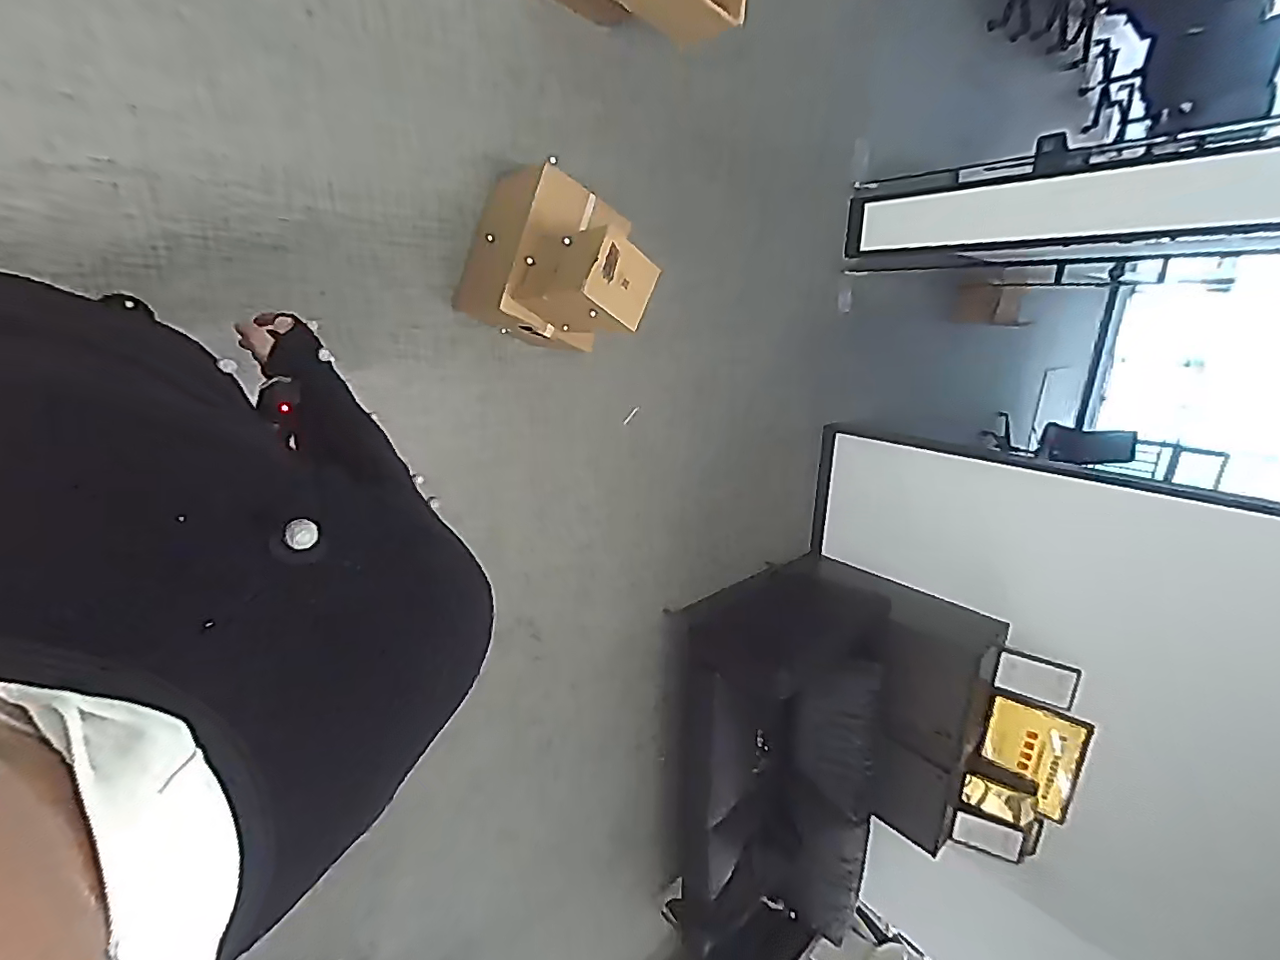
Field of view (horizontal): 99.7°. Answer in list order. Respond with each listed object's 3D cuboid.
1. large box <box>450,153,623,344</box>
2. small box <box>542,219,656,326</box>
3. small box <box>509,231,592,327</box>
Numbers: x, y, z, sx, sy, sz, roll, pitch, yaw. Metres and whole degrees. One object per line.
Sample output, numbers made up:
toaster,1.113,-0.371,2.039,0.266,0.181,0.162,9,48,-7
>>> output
large box,-0.310,-0.652,1.595,0.320,0.320,0.408,16,93,-46
small box,-0.101,-0.479,1.275,0.179,0.176,0.168,26,86,-44
small box,-0.205,-0.514,1.396,0.179,0.176,0.168,25,86,-43
